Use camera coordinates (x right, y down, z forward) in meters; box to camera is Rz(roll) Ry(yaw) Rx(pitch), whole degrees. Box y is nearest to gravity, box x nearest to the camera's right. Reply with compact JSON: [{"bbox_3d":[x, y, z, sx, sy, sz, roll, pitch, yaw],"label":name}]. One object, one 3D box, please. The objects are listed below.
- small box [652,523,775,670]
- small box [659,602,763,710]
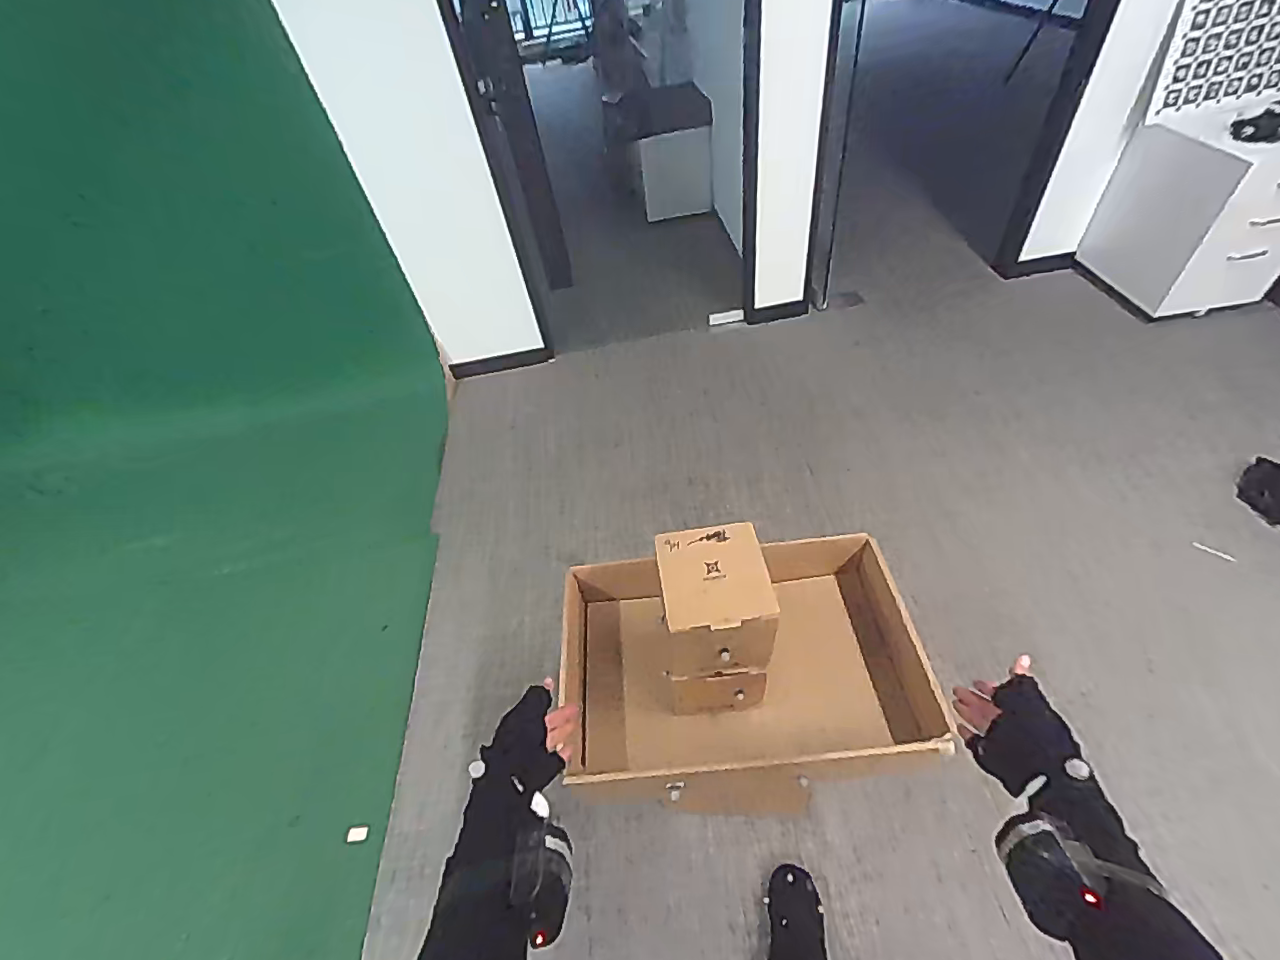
[{"bbox_3d":[0.115,0.197,0.889,0.168,0.176,0.179,-7,48,-1],"label":"small box"},{"bbox_3d":[0.127,0.313,1.004,0.168,0.176,0.179,-6,46,1],"label":"small box"}]
